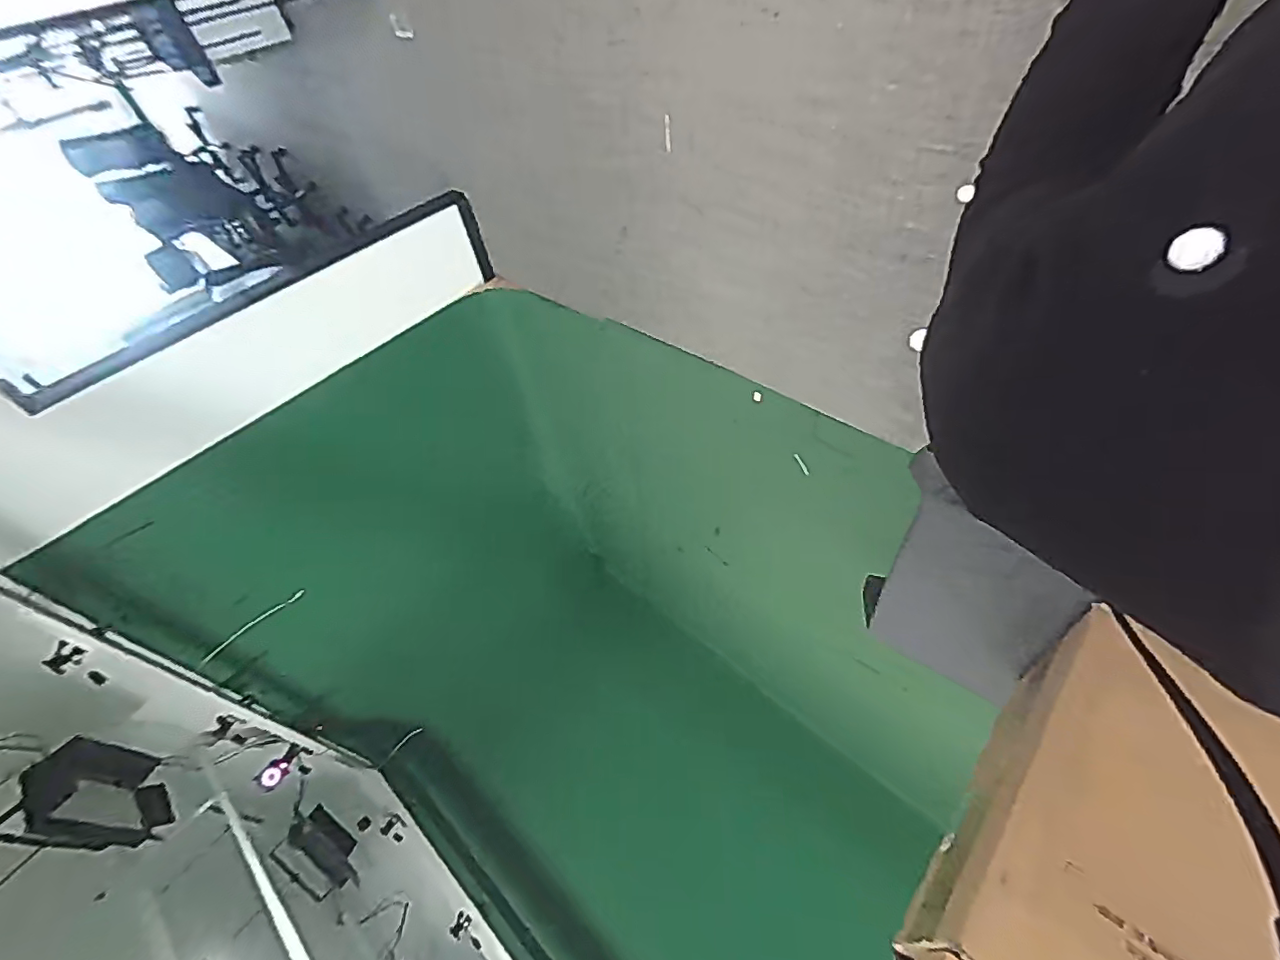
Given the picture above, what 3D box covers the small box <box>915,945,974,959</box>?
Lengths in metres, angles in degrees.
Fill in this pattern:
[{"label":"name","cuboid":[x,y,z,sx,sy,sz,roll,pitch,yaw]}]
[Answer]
[{"label":"small box","cuboid":[0.418,0.740,0.685,0.168,0.176,0.179,31,149,33]}]
